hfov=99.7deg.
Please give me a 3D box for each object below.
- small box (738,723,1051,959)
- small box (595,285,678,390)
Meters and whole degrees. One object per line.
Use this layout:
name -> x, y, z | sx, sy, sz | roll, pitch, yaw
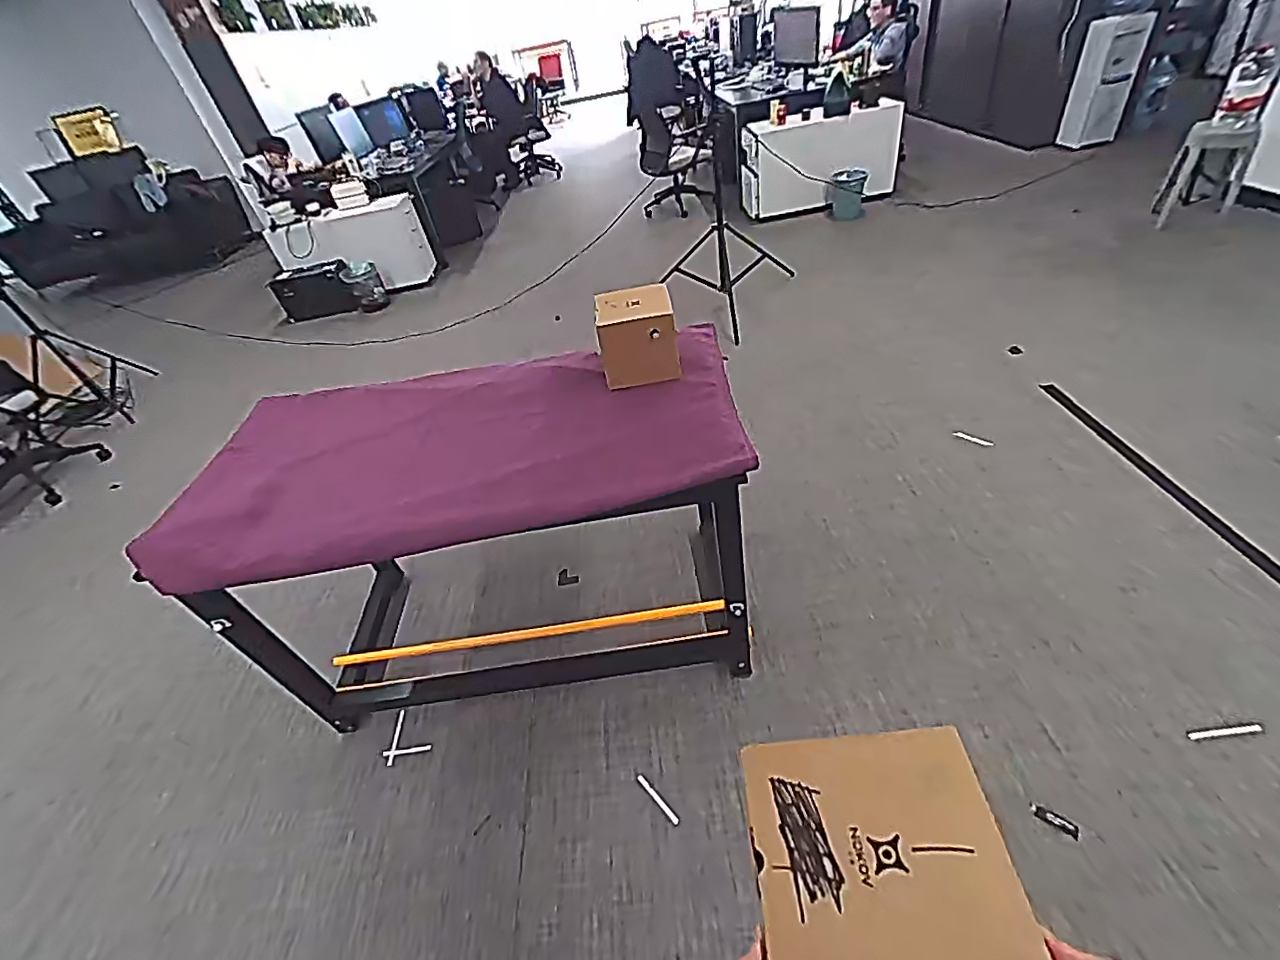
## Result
small box -> 0.188, 0.322, 0.441 | 0.179, 0.176, 0.168 | -11, 43, 10
small box -> -0.006, -0.336, 1.284 | 0.179, 0.176, 0.168 | -9, 42, 3
